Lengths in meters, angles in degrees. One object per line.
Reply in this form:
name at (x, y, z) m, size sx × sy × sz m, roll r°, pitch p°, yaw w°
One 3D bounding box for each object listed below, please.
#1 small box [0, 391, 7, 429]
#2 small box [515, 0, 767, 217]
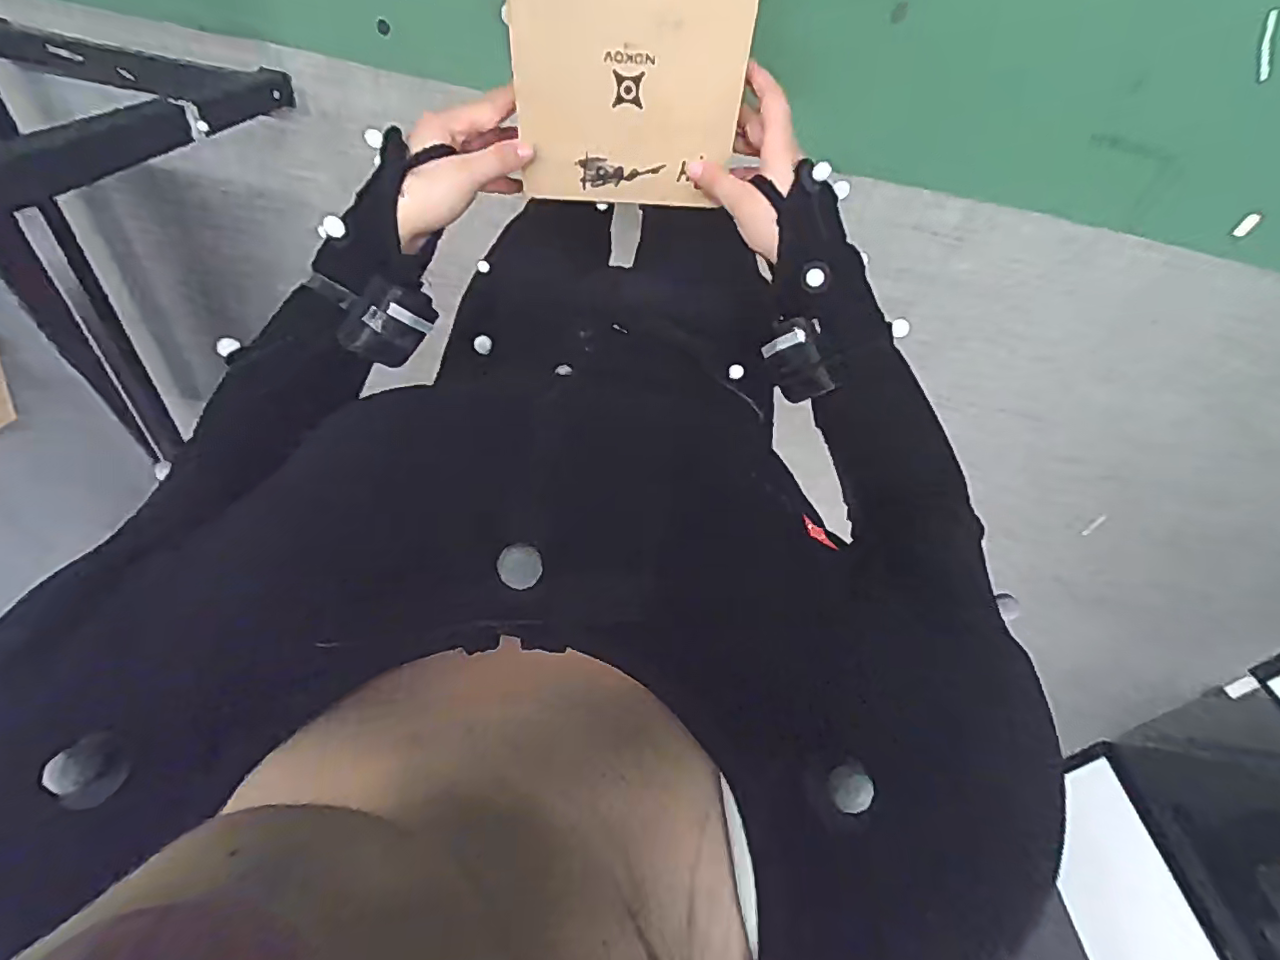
small box at (-0.907, -0.102, 0.624) m, size 0.179 × 0.176 × 0.168 m, roll 25°, pitch 130°, yaw -18°
small box at (-0.009, -0.339, 0.433) m, size 0.168 × 0.176 × 0.179 m, roll 0°, pitch 140°, yaw -6°
